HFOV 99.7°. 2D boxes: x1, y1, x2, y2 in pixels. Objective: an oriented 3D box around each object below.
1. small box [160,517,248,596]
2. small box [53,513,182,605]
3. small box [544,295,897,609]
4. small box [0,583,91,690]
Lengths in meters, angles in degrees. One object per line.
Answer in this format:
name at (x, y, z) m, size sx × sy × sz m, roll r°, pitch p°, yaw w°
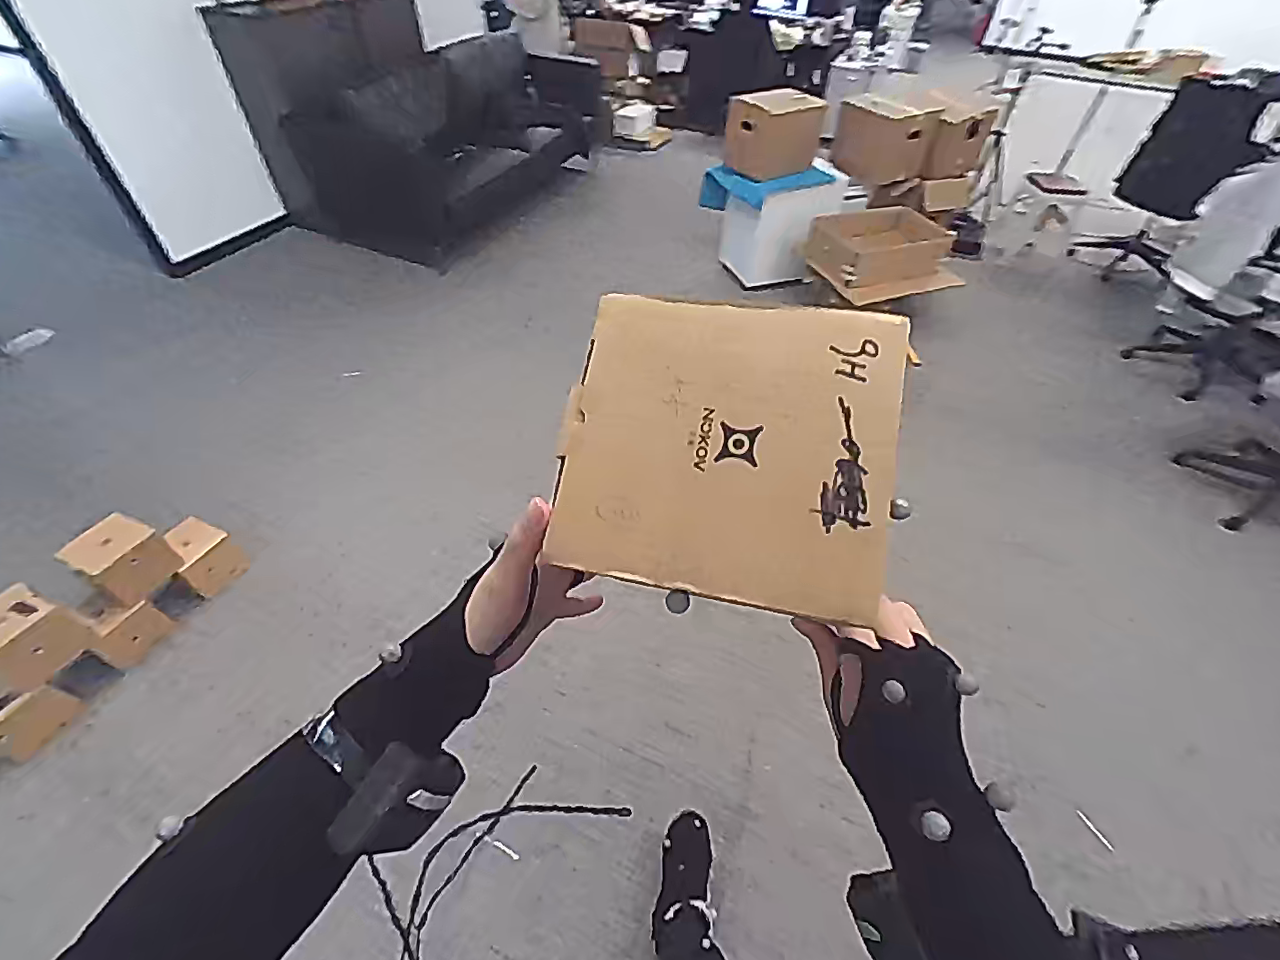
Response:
small box at (-1.447, 0.256, 1.772) m, size 0.179 × 0.176 × 0.168 m, roll 20°, pitch 50°, yaw 15°
small box at (-1.501, 0.232, 1.568) m, size 0.168 × 0.176 × 0.179 m, roll 19°, pitch 47°, yaw 13°
small box at (0.059, -0.007, 0.377) m, size 0.179 × 0.176 × 0.168 m, roll 8°, pitch 78°, yaw 13°
small box at (-1.596, 0.406, 1.400) m, size 0.168 × 0.176 × 0.179 m, roll 21°, pitch 51°, yaw 16°
